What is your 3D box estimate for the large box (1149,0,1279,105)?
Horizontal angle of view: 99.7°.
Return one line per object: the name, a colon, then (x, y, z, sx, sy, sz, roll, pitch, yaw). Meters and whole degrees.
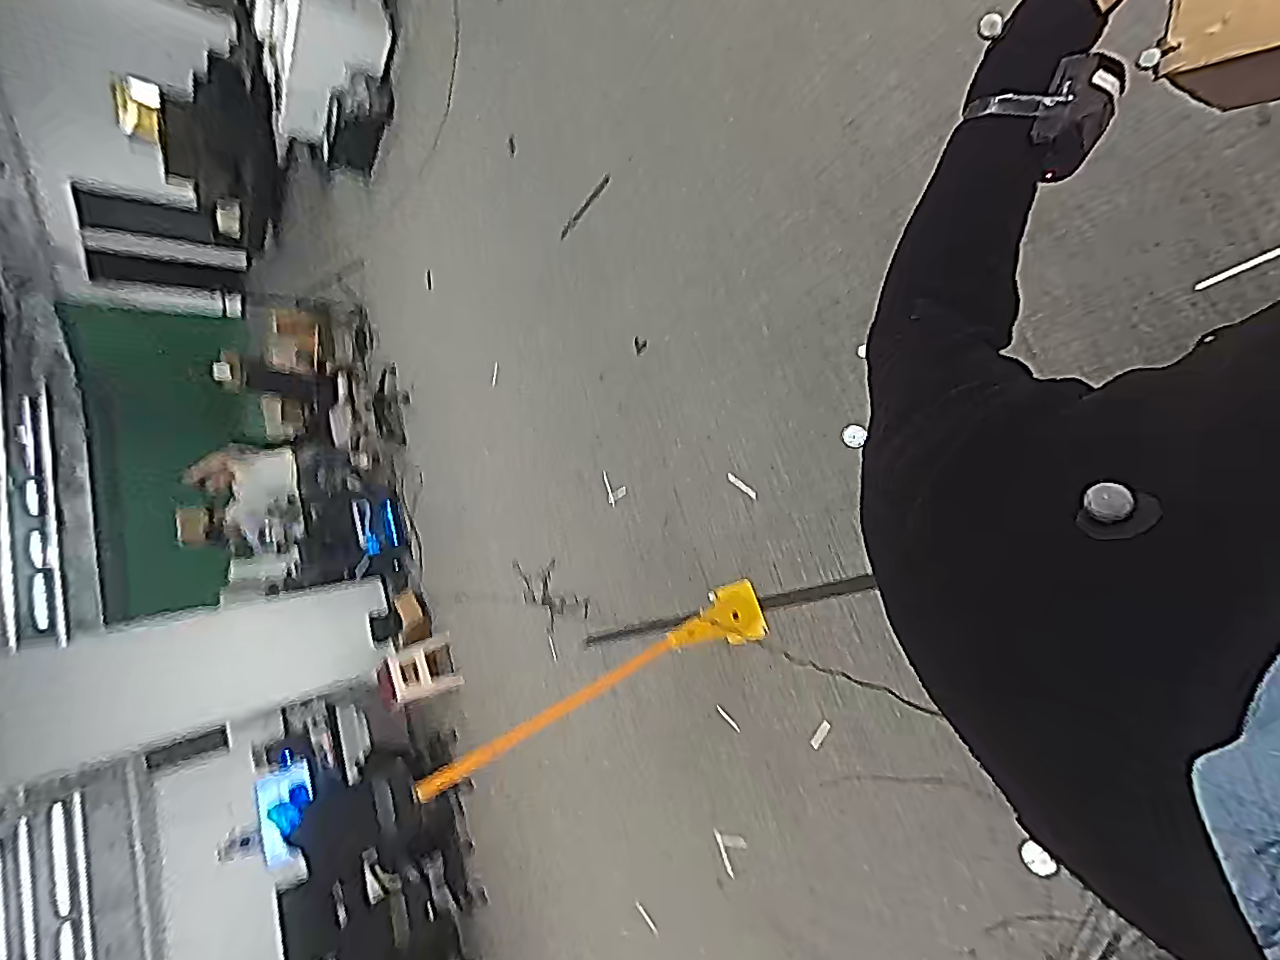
large box: (0.579, -0.441, 0.268, 0.408, 0.320, 0.320, 16, 119, 50)
